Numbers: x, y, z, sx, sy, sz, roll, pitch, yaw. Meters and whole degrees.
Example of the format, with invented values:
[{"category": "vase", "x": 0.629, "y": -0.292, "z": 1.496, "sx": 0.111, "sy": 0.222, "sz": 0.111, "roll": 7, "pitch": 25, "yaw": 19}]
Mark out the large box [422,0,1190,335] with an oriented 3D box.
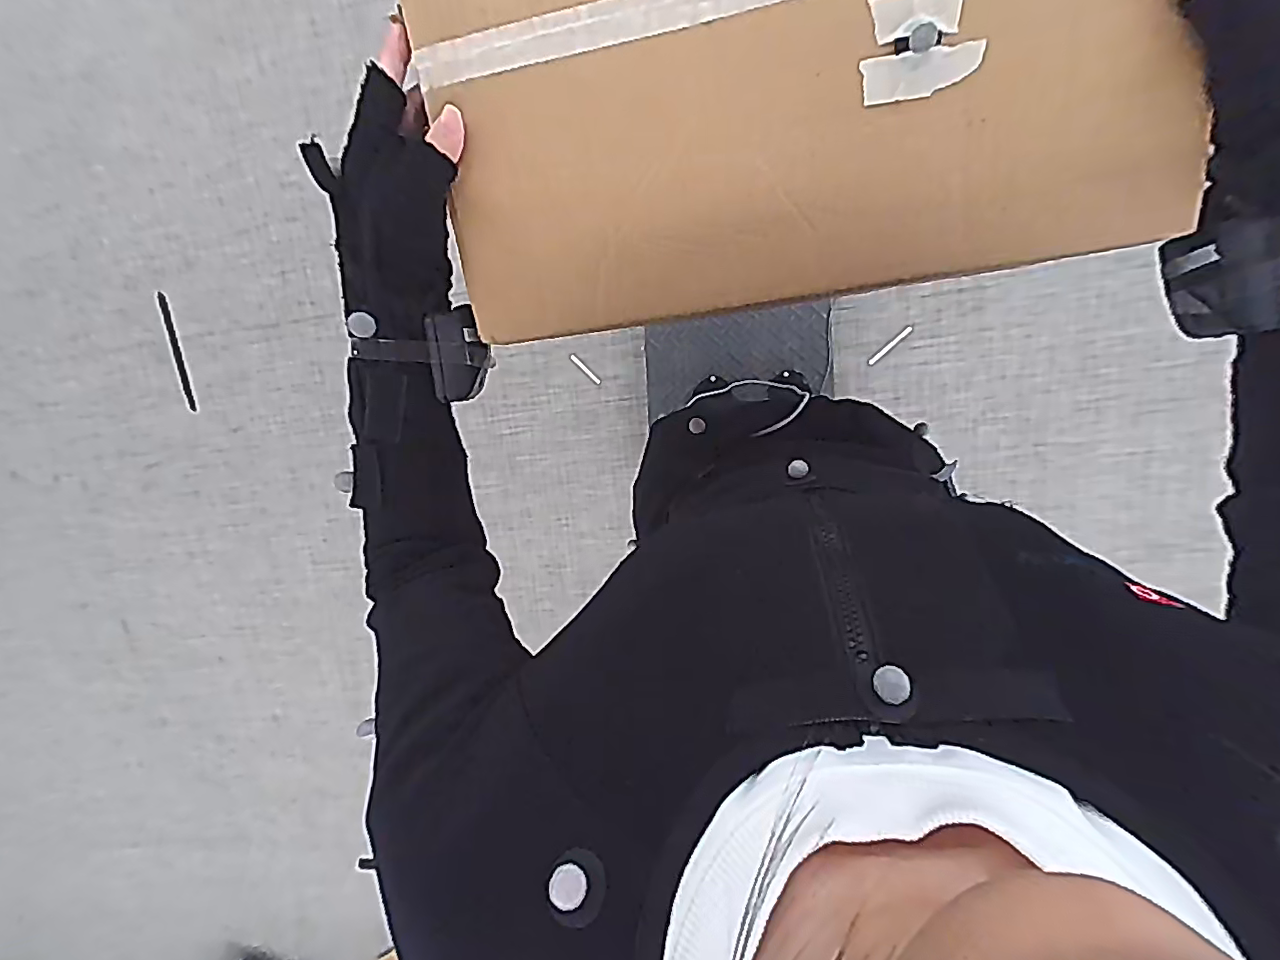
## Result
[{"category": "large box", "x": 0.090, "y": -0.308, "z": 0.432, "sx": 0.408, "sy": 0.320, "sz": 0.320, "roll": -7, "pitch": 106, "yaw": 9}]
